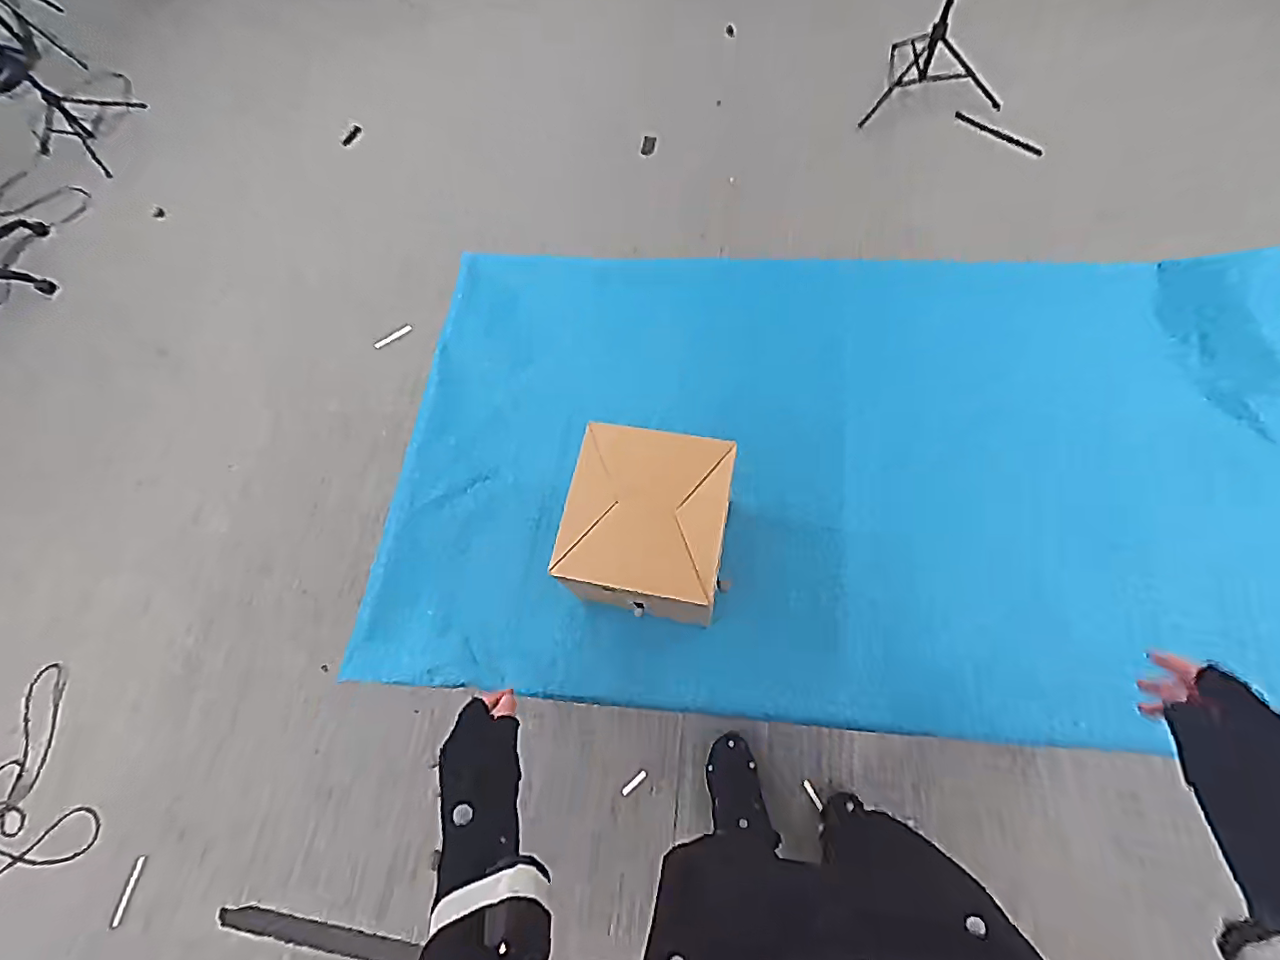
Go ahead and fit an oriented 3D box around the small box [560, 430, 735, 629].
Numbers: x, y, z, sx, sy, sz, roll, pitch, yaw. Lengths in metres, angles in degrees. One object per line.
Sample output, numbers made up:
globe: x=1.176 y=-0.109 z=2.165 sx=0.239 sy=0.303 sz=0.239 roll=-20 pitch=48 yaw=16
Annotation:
small box: x=0.017 y=0.062 z=0.635 sx=0.168 sy=0.176 sz=0.179 roll=9 pitch=69 yaw=10
